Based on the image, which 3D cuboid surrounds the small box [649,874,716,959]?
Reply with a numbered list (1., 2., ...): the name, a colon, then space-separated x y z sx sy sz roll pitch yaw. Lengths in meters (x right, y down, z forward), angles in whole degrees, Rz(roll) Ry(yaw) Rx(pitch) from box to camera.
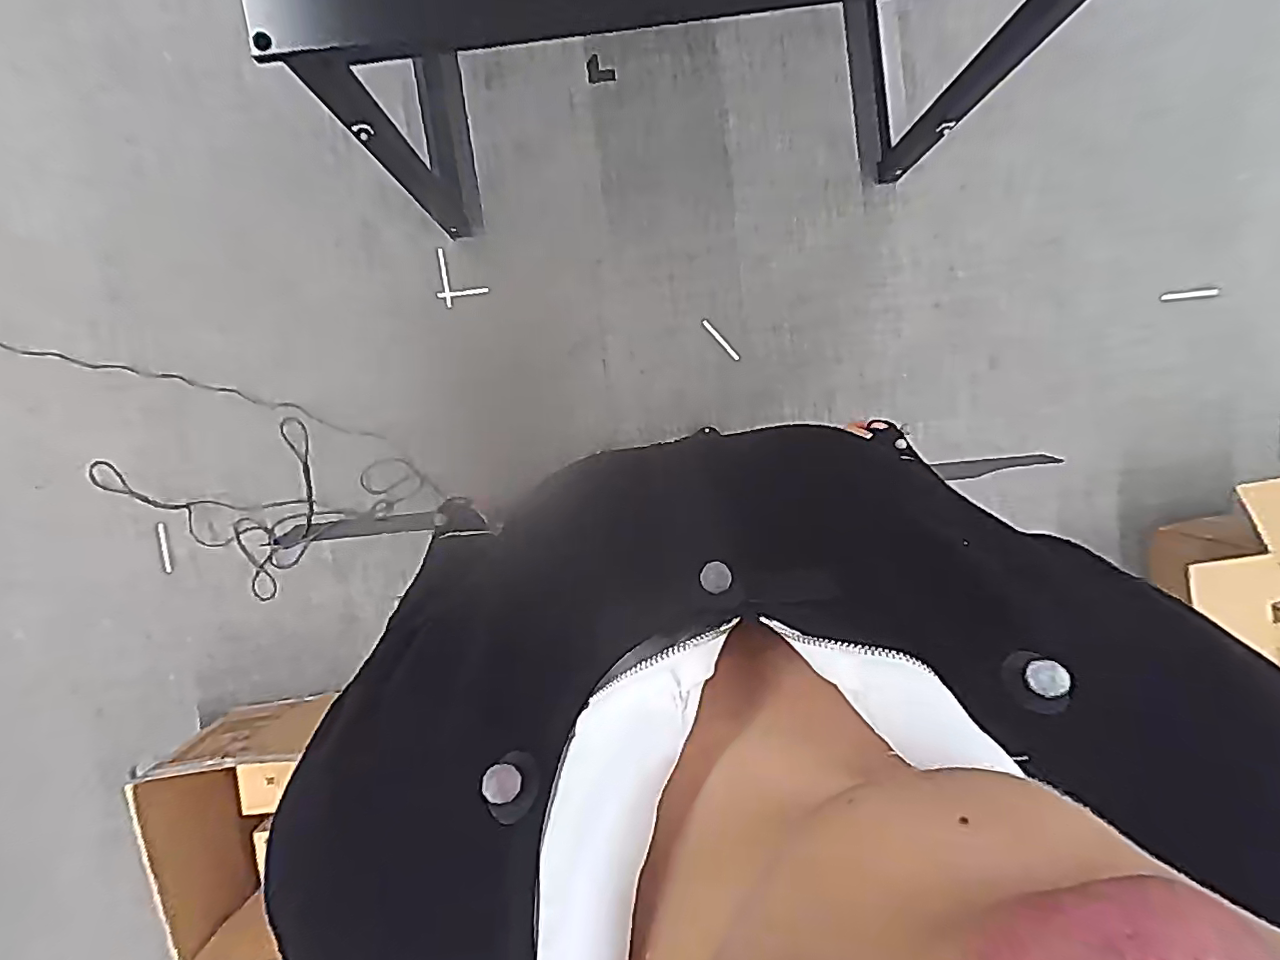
1. small box: 0.113 1.215 1.478 0.168 0.176 0.179 -3 93 -1
